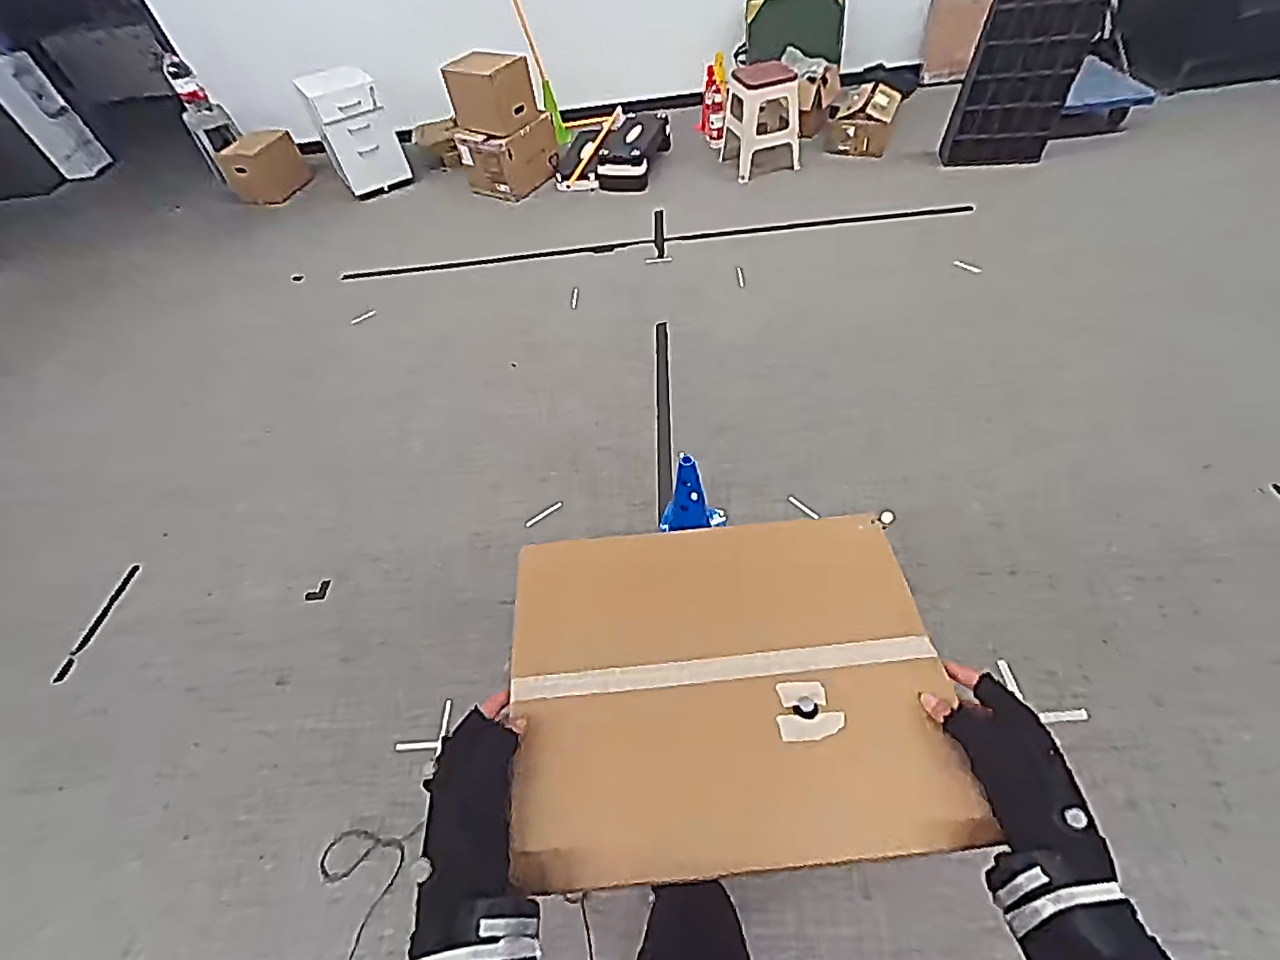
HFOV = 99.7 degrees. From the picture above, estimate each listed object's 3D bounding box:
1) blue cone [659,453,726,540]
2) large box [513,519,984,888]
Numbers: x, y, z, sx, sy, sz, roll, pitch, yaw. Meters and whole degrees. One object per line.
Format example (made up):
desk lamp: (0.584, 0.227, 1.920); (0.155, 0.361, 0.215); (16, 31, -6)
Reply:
blue cone: (0.152, 0.062, 1.622); (0.193, 0.380, 0.192); (13, 54, 17)
large box: (0.083, 0.276, 0.651); (0.408, 0.320, 0.320); (-5, 53, -1)
